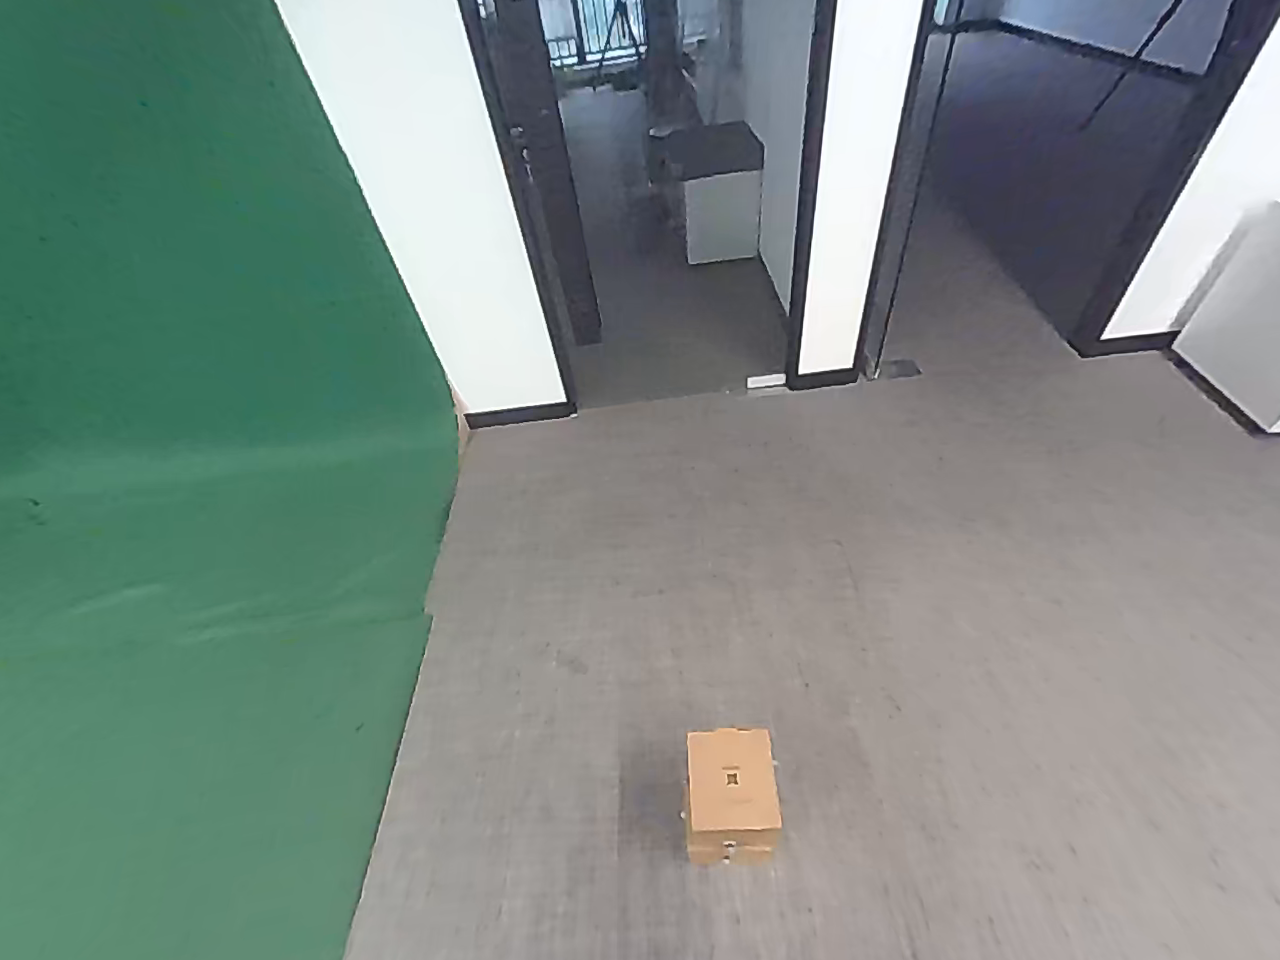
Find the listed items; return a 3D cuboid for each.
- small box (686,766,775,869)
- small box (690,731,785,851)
[{"bbox_3d":[0.197,0.749,1.202,0.179,0.176,0.168,-5,45,6],"label":"small box"},{"bbox_3d":[0.192,0.630,1.093,0.168,0.176,0.179,-6,46,6],"label":"small box"}]
